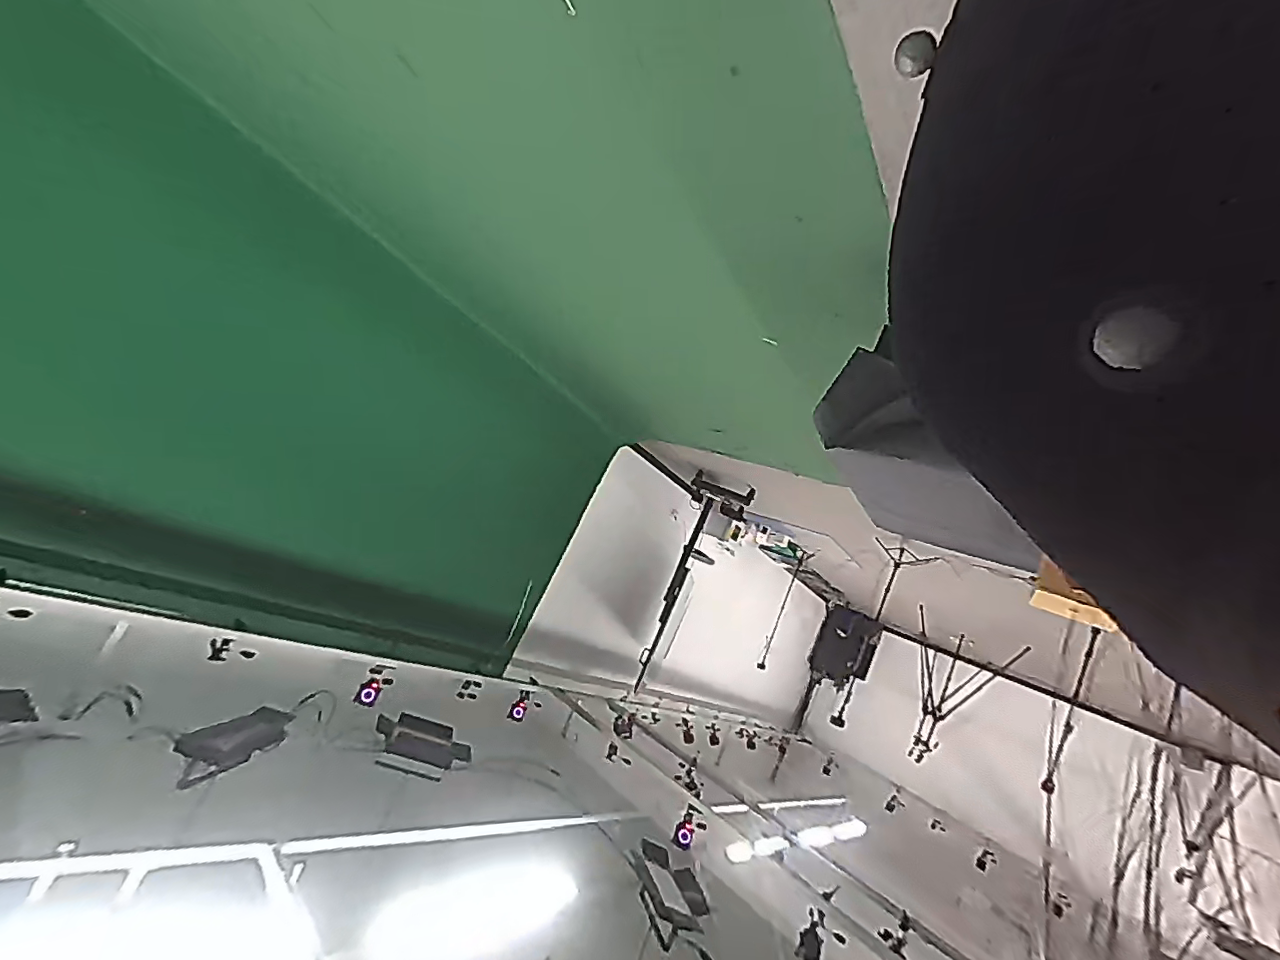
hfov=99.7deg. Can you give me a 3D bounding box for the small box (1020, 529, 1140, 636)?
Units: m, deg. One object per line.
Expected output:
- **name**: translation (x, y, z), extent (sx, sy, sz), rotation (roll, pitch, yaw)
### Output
- **small box**: translation (1.000, 0.233, 1.236), extent (0.168, 0.176, 0.179), rotation (20, 168, 35)
